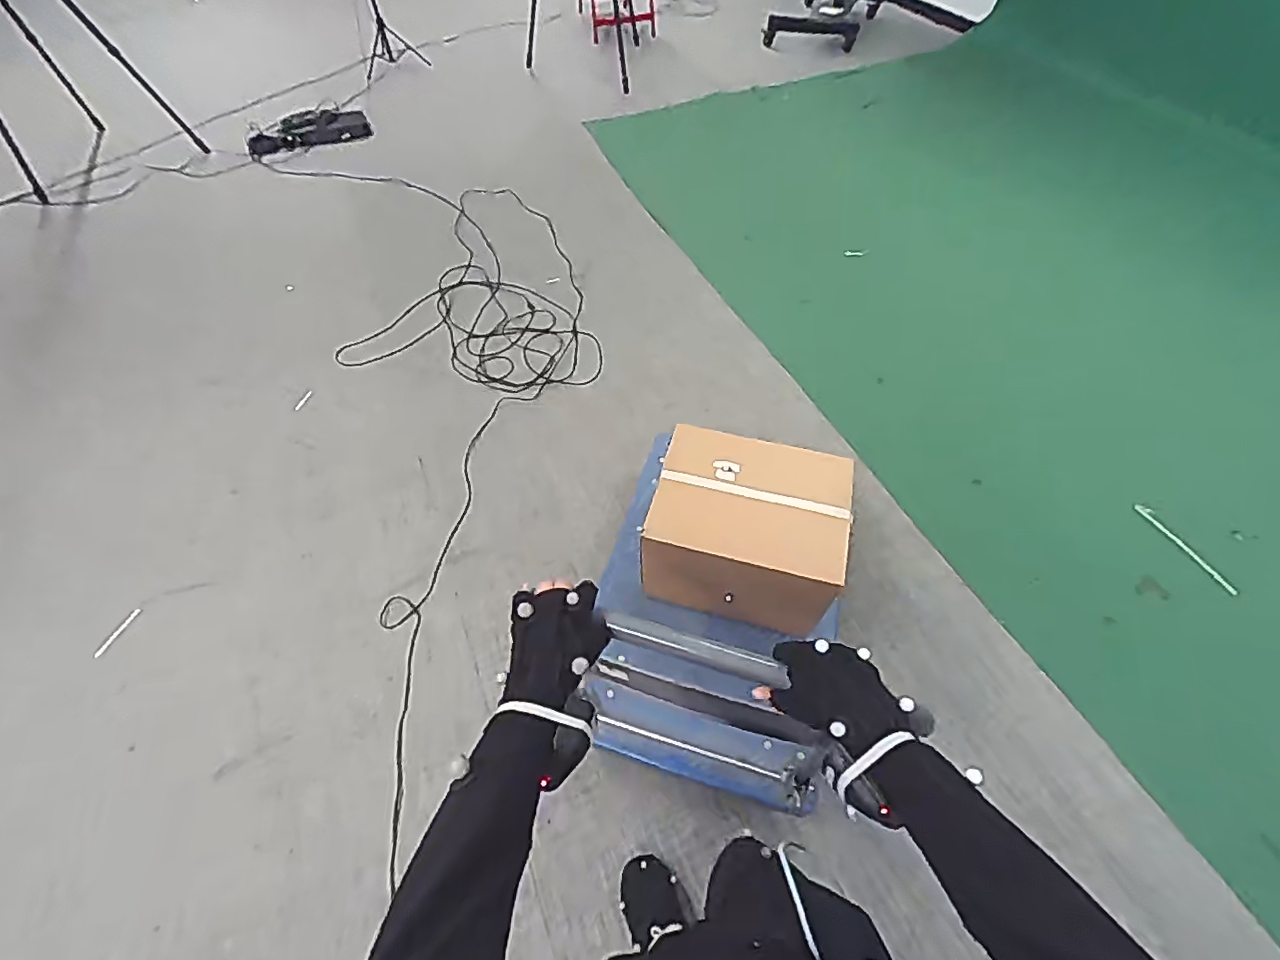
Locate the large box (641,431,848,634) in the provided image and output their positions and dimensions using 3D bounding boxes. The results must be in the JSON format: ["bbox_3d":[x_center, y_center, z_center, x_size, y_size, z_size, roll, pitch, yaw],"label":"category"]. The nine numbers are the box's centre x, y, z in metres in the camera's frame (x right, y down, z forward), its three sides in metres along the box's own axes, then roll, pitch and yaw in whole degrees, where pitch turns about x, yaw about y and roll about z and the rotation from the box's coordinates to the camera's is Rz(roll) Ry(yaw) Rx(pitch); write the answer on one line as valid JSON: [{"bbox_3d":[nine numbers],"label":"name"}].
[{"bbox_3d":[0.238,0.129,1.272,0.408,0.320,0.320,12,56,10],"label":"large box"}]
